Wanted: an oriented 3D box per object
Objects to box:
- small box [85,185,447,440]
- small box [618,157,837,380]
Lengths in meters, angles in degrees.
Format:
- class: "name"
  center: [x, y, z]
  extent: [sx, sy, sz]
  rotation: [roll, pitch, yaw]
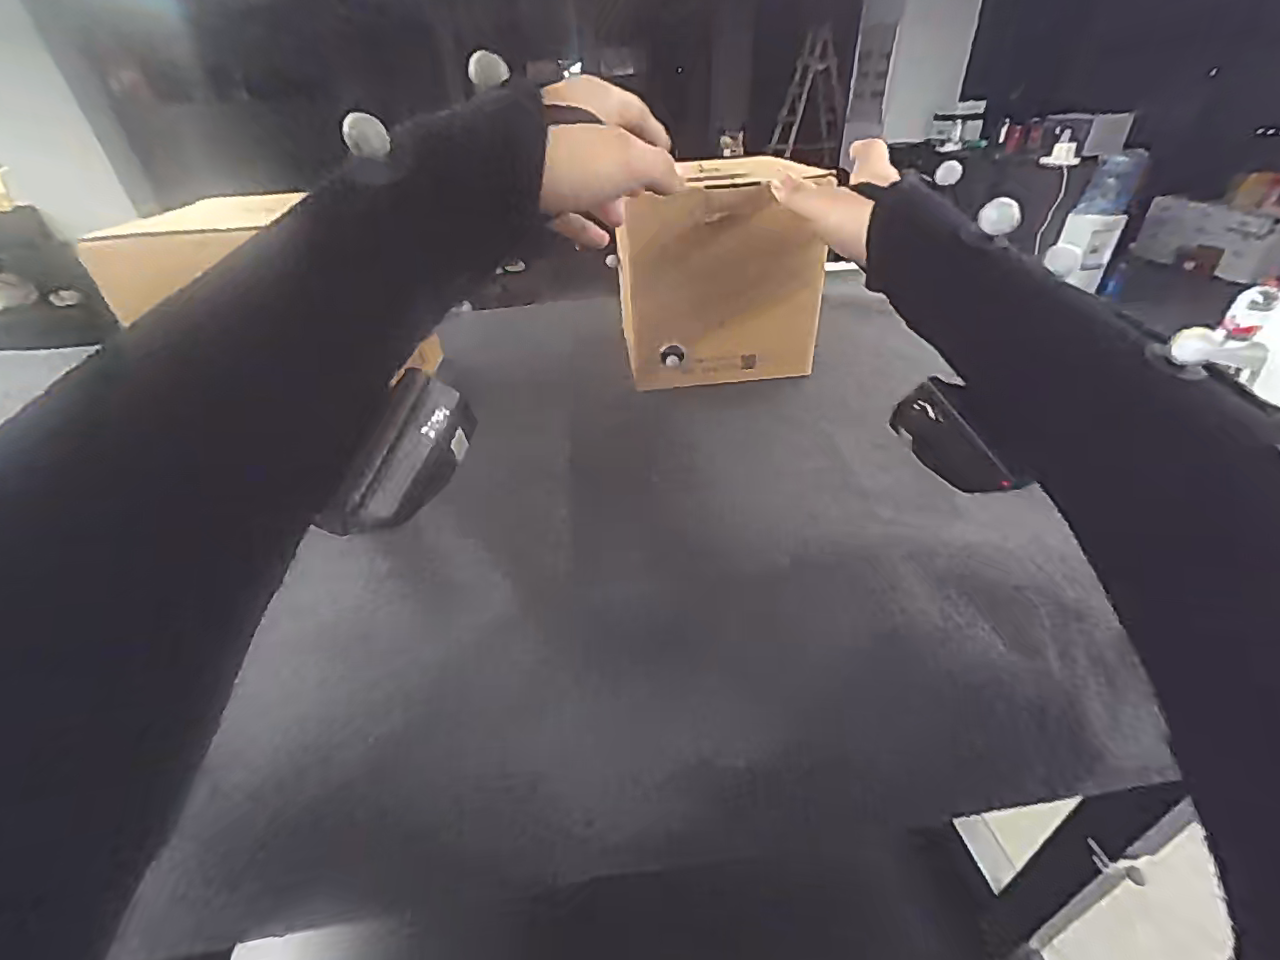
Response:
- class: "small box"
  center: [-0.289, -0.148, 0.475]
  extent: [0.179, 0.176, 0.168]
  rotation: [-4, 35, -1]
- class: "small box"
  center: [0.070, -0.203, 0.524]
  extent: [0.168, 0.176, 0.179]
  rotation: [-5, 35, -3]
